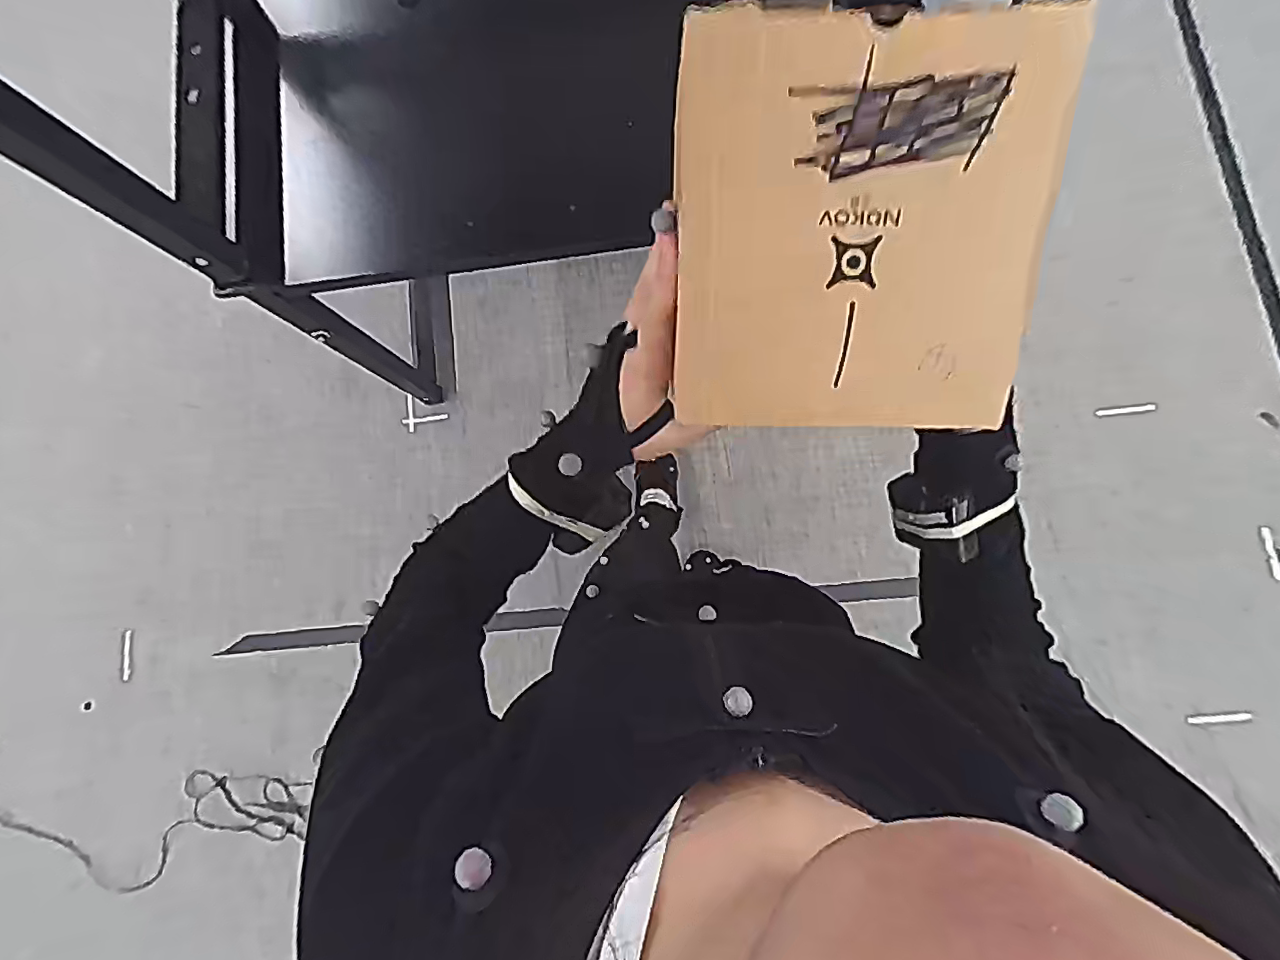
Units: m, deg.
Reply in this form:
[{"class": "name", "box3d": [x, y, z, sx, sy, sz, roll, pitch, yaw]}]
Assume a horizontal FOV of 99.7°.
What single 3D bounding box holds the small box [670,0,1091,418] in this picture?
[{"class": "small box", "box3d": [0.103, -0.140, 0.321, 0.168, 0.176, 0.179, 1, 110, 3]}]
